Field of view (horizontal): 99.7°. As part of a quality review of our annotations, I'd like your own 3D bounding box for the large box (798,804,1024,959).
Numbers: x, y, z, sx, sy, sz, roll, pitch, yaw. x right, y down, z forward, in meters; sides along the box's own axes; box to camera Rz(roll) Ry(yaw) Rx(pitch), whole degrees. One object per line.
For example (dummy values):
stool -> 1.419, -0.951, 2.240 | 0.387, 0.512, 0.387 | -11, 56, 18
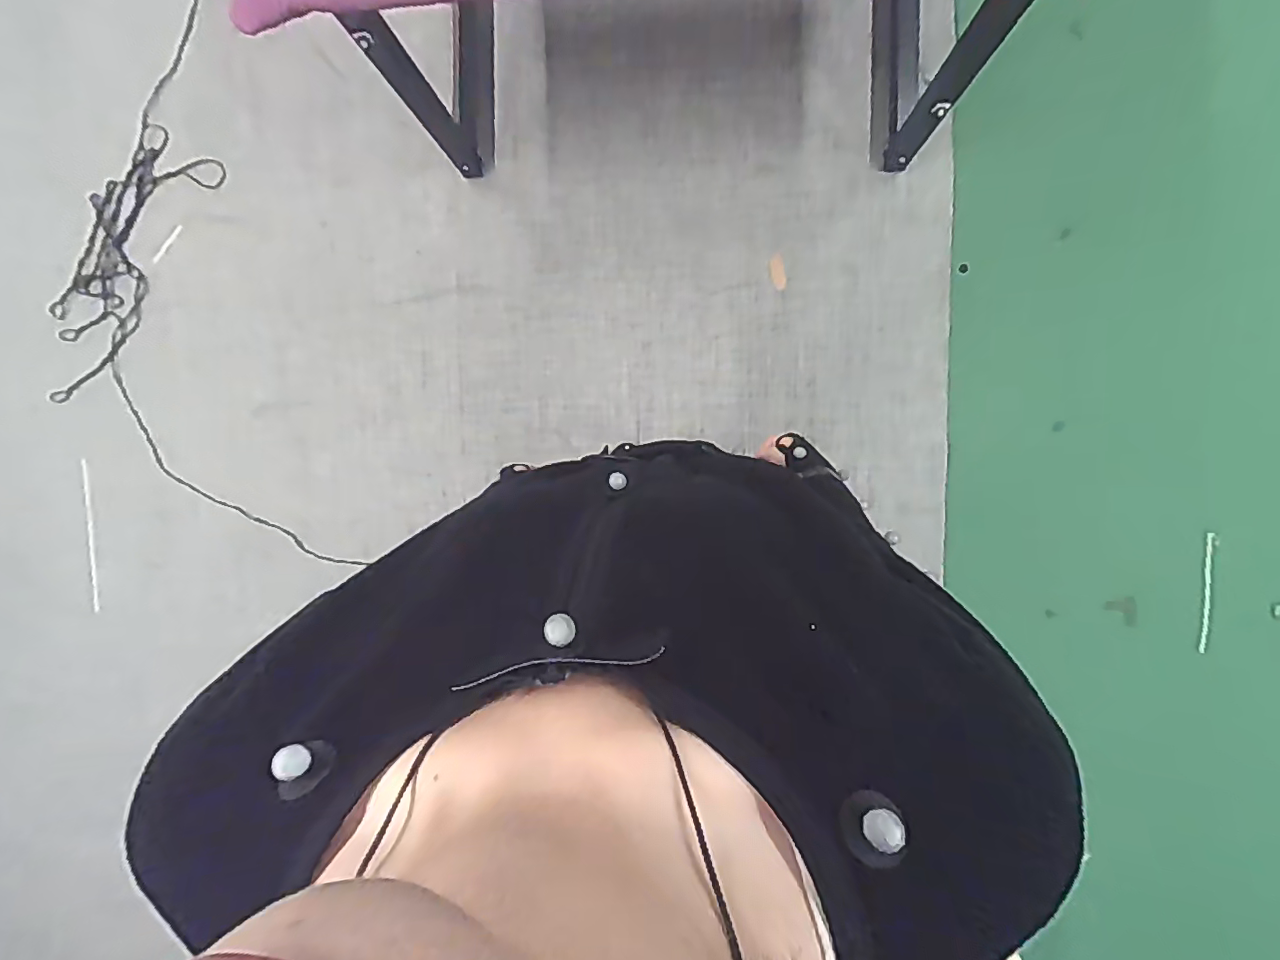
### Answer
large box -> 0.657, 1.084, 1.349 | 0.408, 0.320, 0.320 | -14, 92, 4
